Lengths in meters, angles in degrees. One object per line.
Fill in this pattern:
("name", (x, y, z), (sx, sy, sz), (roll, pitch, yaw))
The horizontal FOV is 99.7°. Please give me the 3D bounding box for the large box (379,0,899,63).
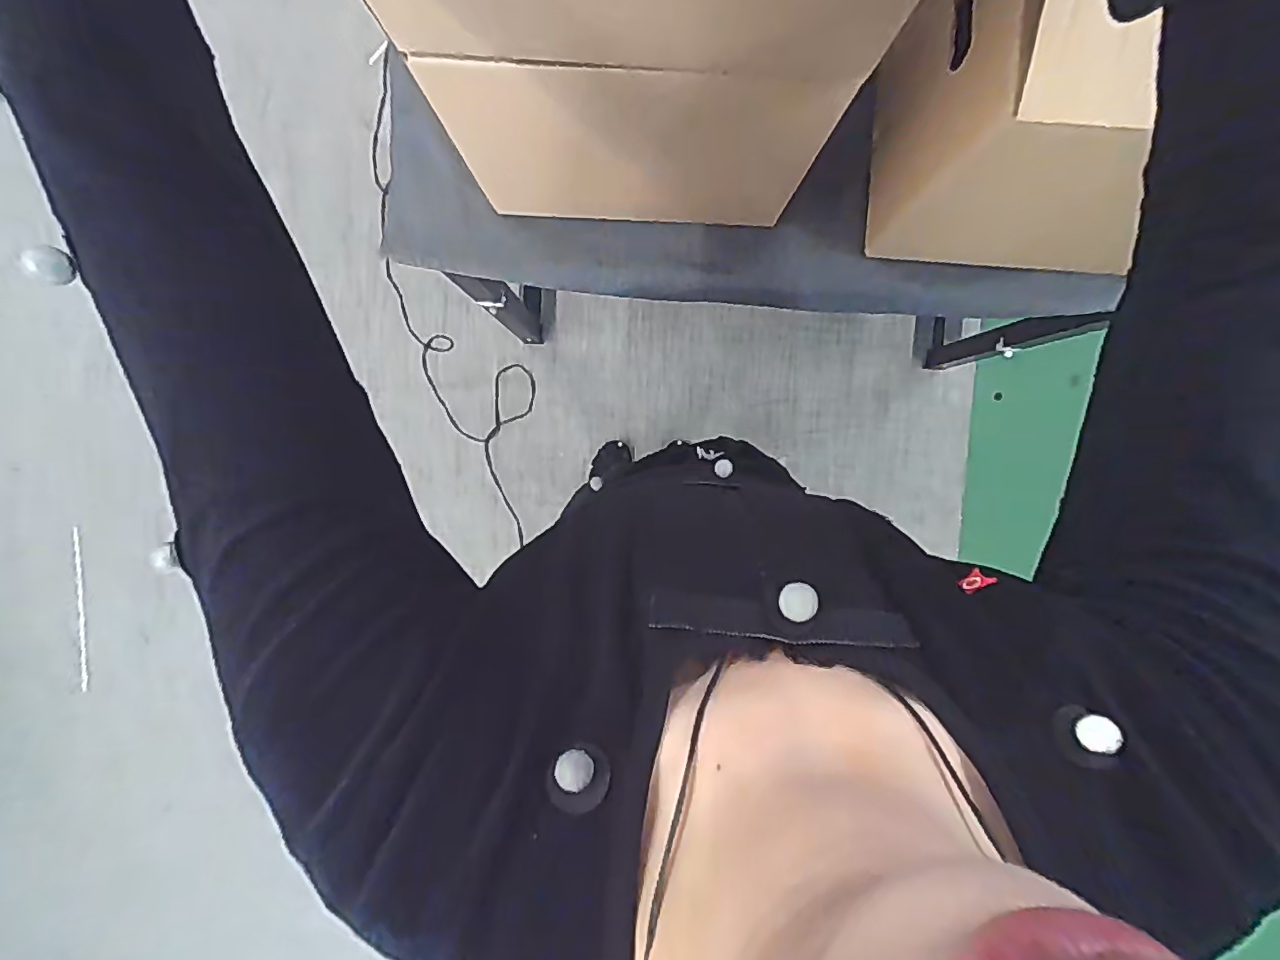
("large box", (0.001, -0.496, 0.301), (0.408, 0.320, 0.320), (3, 96, 0))
